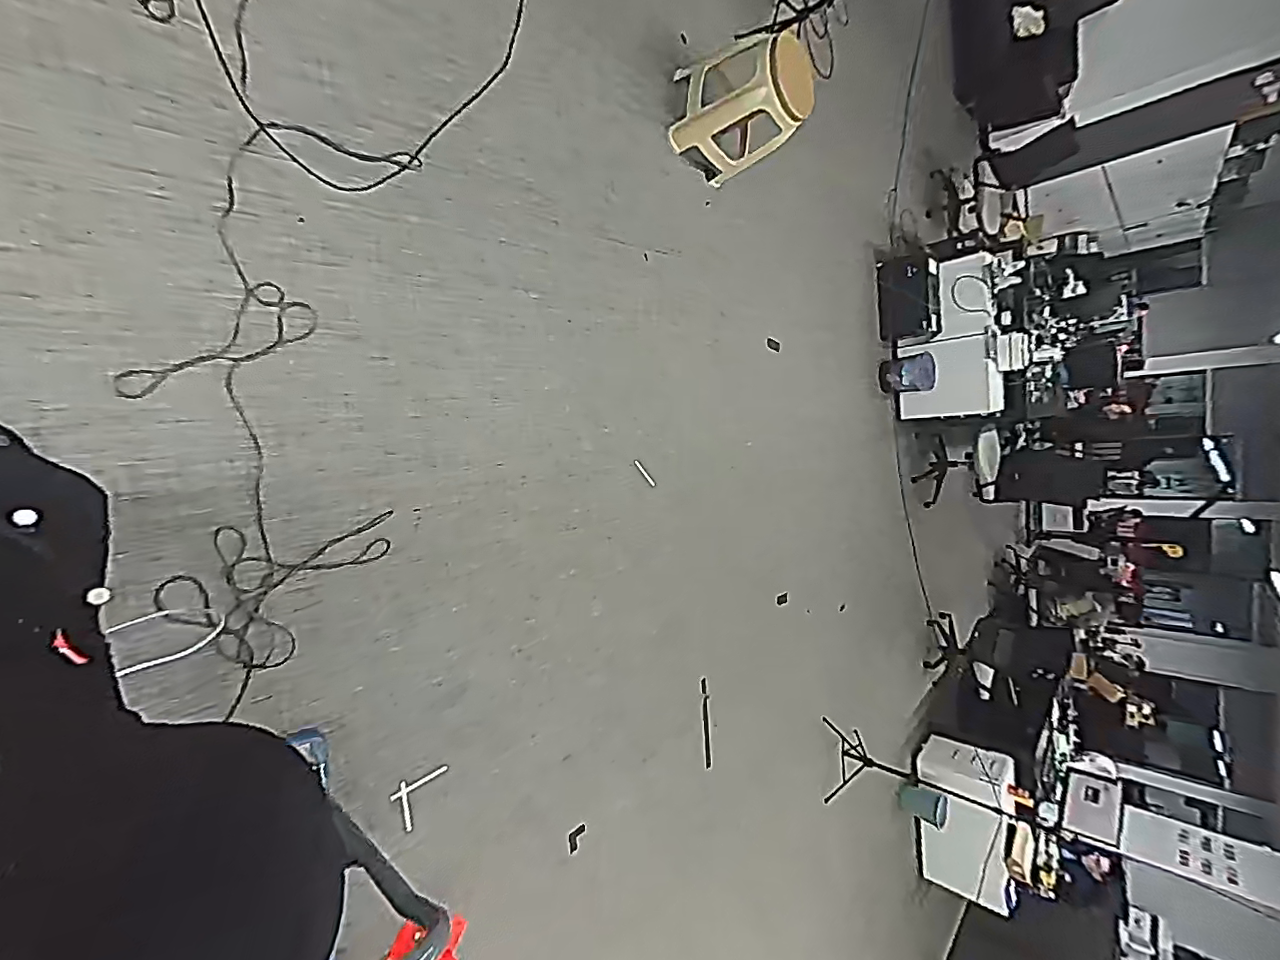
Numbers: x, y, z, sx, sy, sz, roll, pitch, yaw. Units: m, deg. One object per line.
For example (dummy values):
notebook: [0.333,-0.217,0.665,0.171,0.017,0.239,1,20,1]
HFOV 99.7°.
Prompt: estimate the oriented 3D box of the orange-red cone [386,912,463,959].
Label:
orange-red cone: [-0.462,1.261,1.296,0.198,0.360,0.199,48,59,-34]
